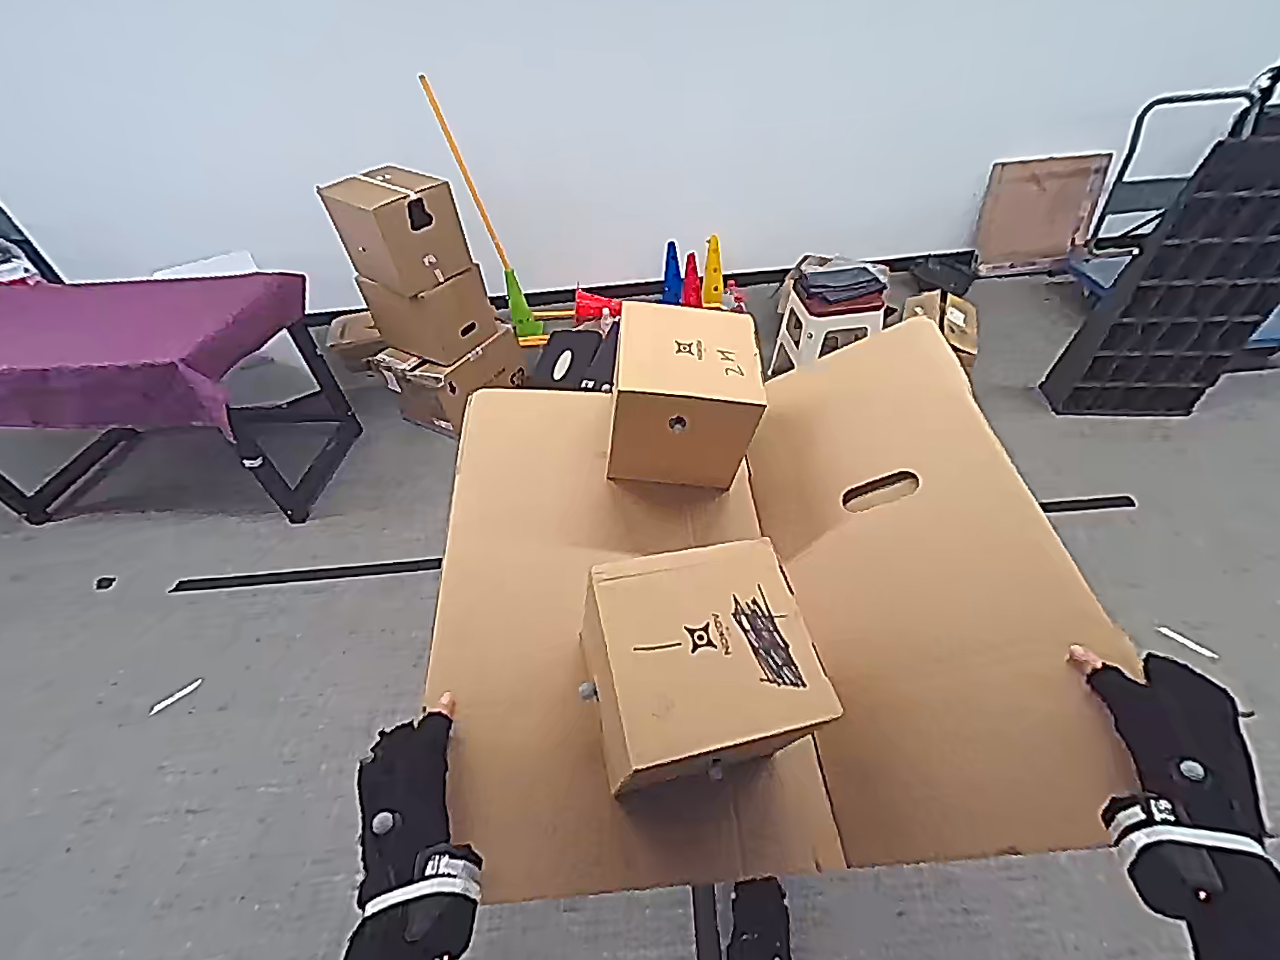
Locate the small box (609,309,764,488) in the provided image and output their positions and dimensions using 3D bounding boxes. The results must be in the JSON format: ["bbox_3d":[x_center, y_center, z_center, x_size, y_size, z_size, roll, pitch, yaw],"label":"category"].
[{"bbox_3d":[0.053,-0.105,0.736,0.179,0.176,0.168,6,54,-5],"label":"small box"}]

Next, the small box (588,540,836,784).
[{"bbox_3d":[0.051,0.179,0.527,0.179,0.176,0.168,-8,56,-13],"label":"small box"}]
